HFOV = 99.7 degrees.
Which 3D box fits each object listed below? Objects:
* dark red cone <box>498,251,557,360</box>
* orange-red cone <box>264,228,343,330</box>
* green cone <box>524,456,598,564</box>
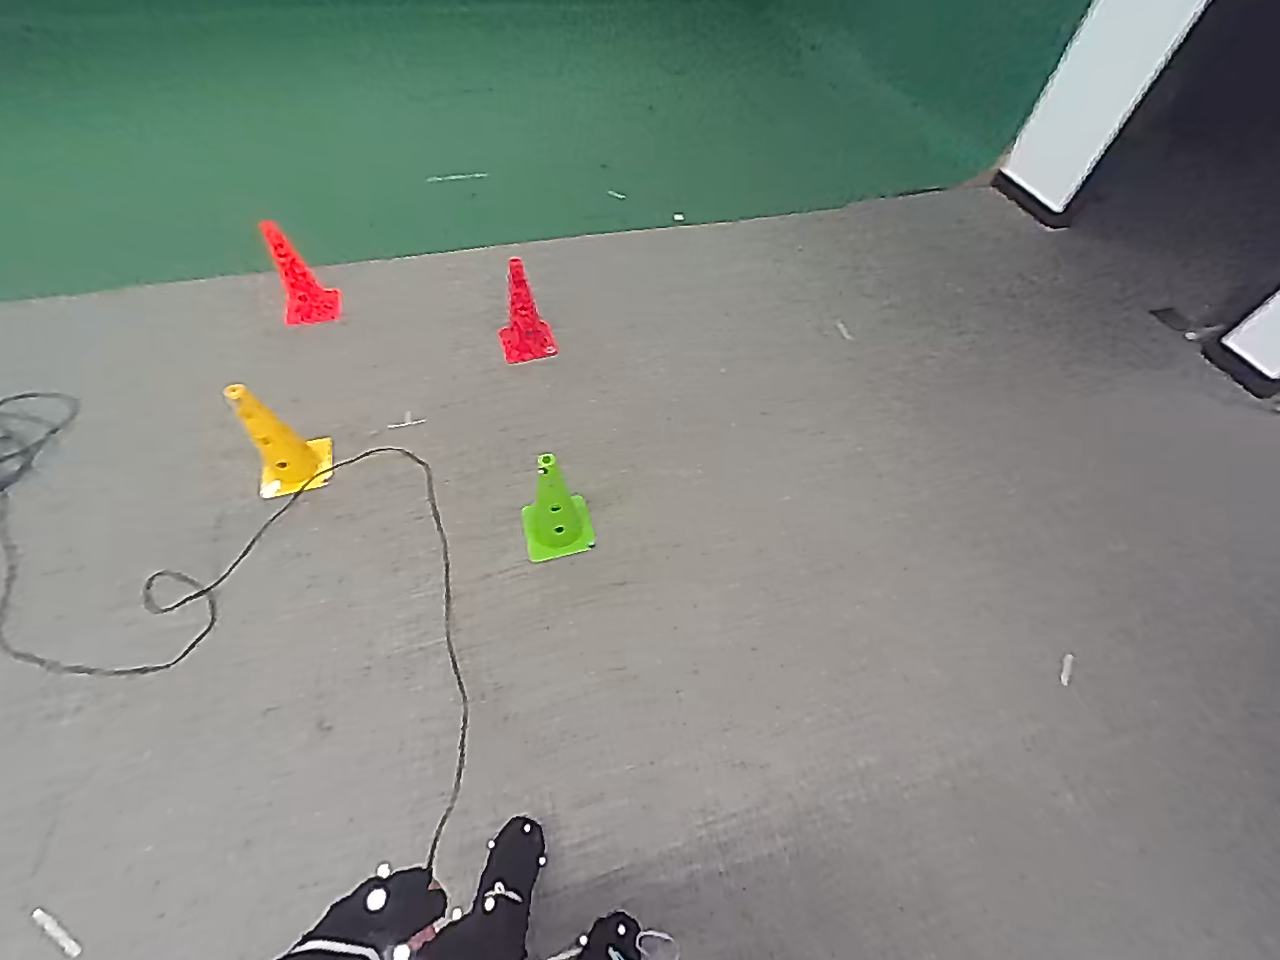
[{"bbox_3d":[-0.431,-0.642,1.965,0.202,0.394,0.201,-16,56,-13],"label":"dark red cone"},{"bbox_3d":[-1.309,-0.780,2.050,0.198,0.360,0.199,-12,57,-9],"label":"orange-red cone"},{"bbox_3d":[-0.242,0.052,1.518,0.202,0.368,0.200,-13,56,-10],"label":"green cone"}]
